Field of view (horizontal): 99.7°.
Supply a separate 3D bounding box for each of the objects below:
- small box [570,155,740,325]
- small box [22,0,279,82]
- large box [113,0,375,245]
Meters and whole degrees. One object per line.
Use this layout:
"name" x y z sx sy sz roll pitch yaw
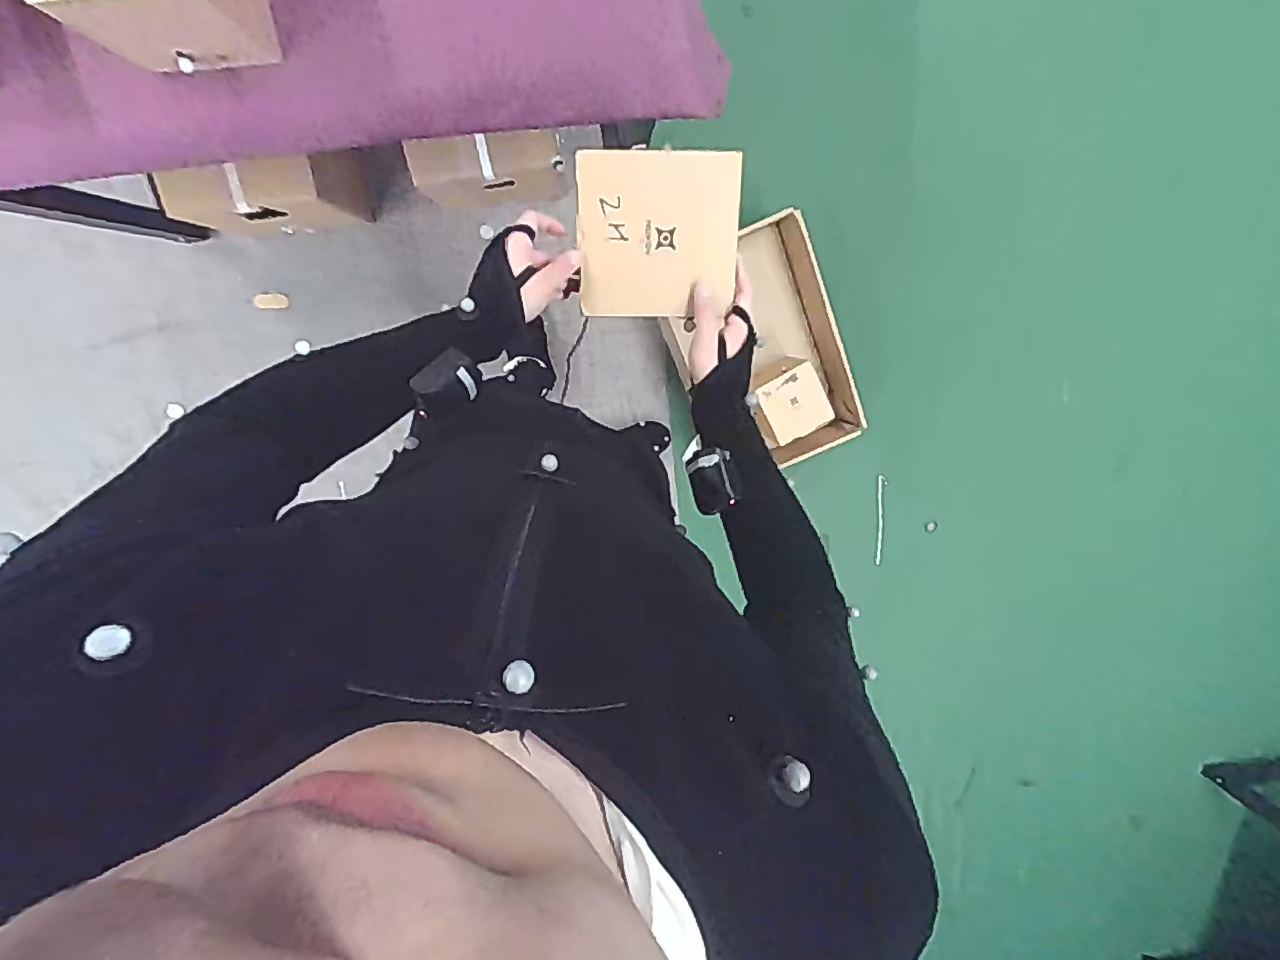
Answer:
"small box" 0.013 -0.275 0.646 0.179 0.176 0.168 0 108 0
"small box" -0.543 -0.579 0.594 0.168 0.176 0.179 -6 106 -2
"large box" -0.849 -0.777 1.204 0.320 0.320 0.408 -8 106 -3
